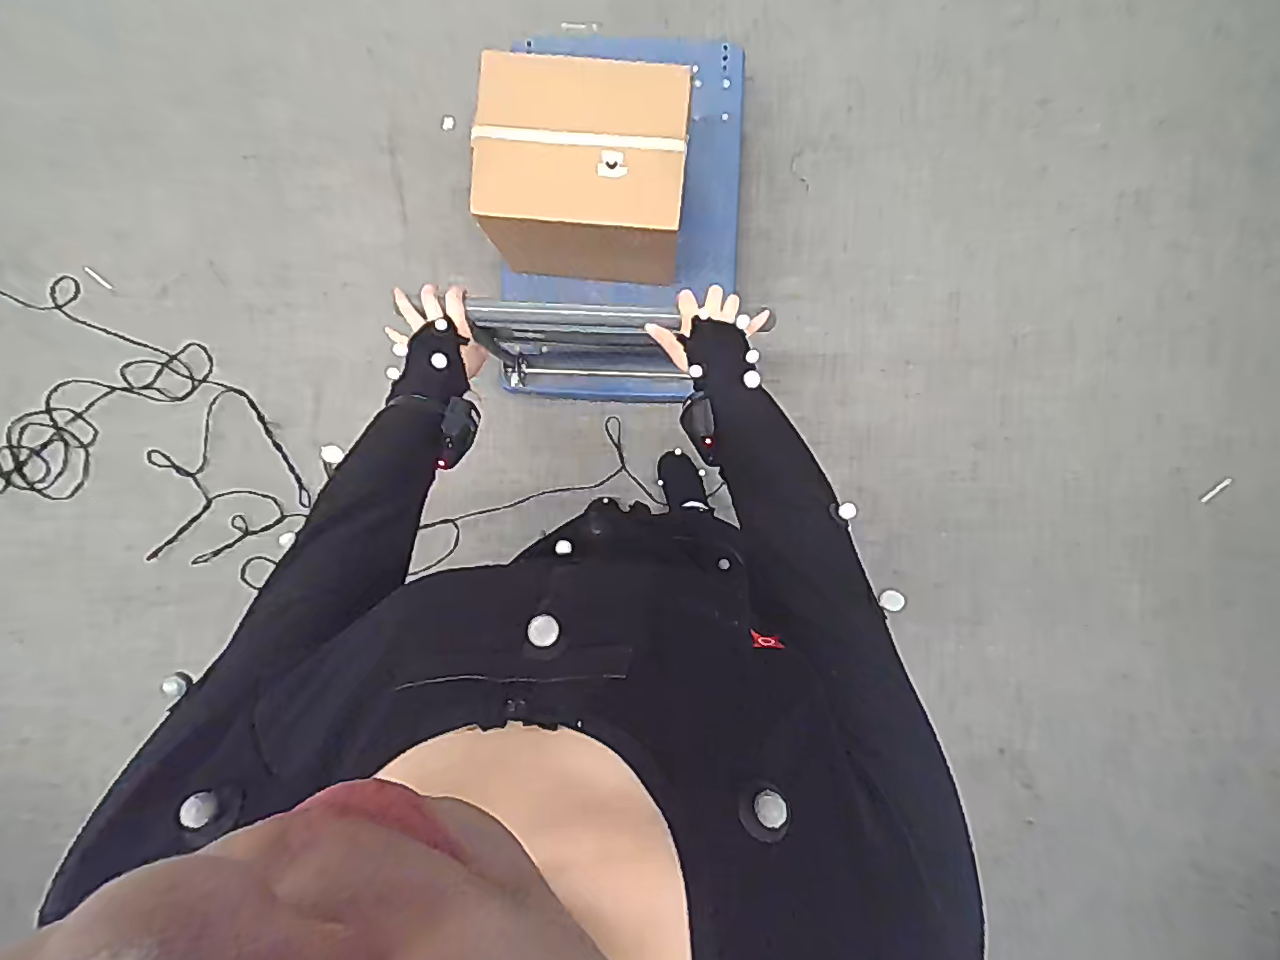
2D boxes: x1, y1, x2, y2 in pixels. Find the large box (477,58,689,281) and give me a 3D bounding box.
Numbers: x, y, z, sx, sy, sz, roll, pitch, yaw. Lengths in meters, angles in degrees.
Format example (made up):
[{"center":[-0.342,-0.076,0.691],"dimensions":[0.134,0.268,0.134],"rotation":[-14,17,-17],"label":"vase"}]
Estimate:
[{"center":[-0.113,-0.655,1.197],"dimensions":[0.408,0.320,0.320],"rotation":[5,91,0],"label":"large box"}]
